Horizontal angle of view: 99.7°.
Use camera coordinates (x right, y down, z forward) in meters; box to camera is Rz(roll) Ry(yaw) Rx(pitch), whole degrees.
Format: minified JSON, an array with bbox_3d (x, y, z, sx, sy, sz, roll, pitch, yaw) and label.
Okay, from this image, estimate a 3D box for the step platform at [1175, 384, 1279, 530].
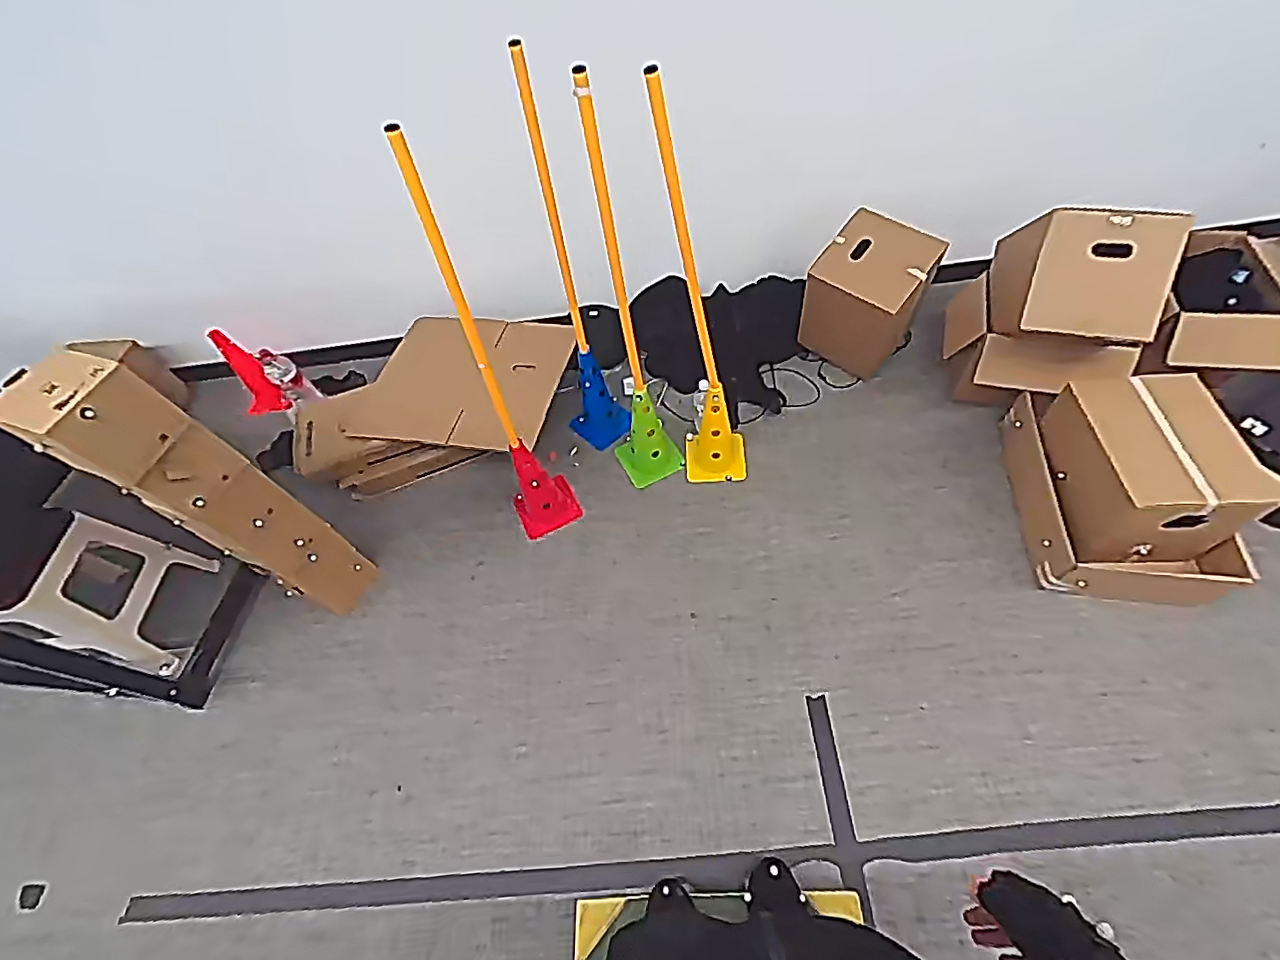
[{"bbox_3d":[1.973,-0.145,1.591,0.684,0.204,0.286,-30,58,-12],"label":"step platform"}]
